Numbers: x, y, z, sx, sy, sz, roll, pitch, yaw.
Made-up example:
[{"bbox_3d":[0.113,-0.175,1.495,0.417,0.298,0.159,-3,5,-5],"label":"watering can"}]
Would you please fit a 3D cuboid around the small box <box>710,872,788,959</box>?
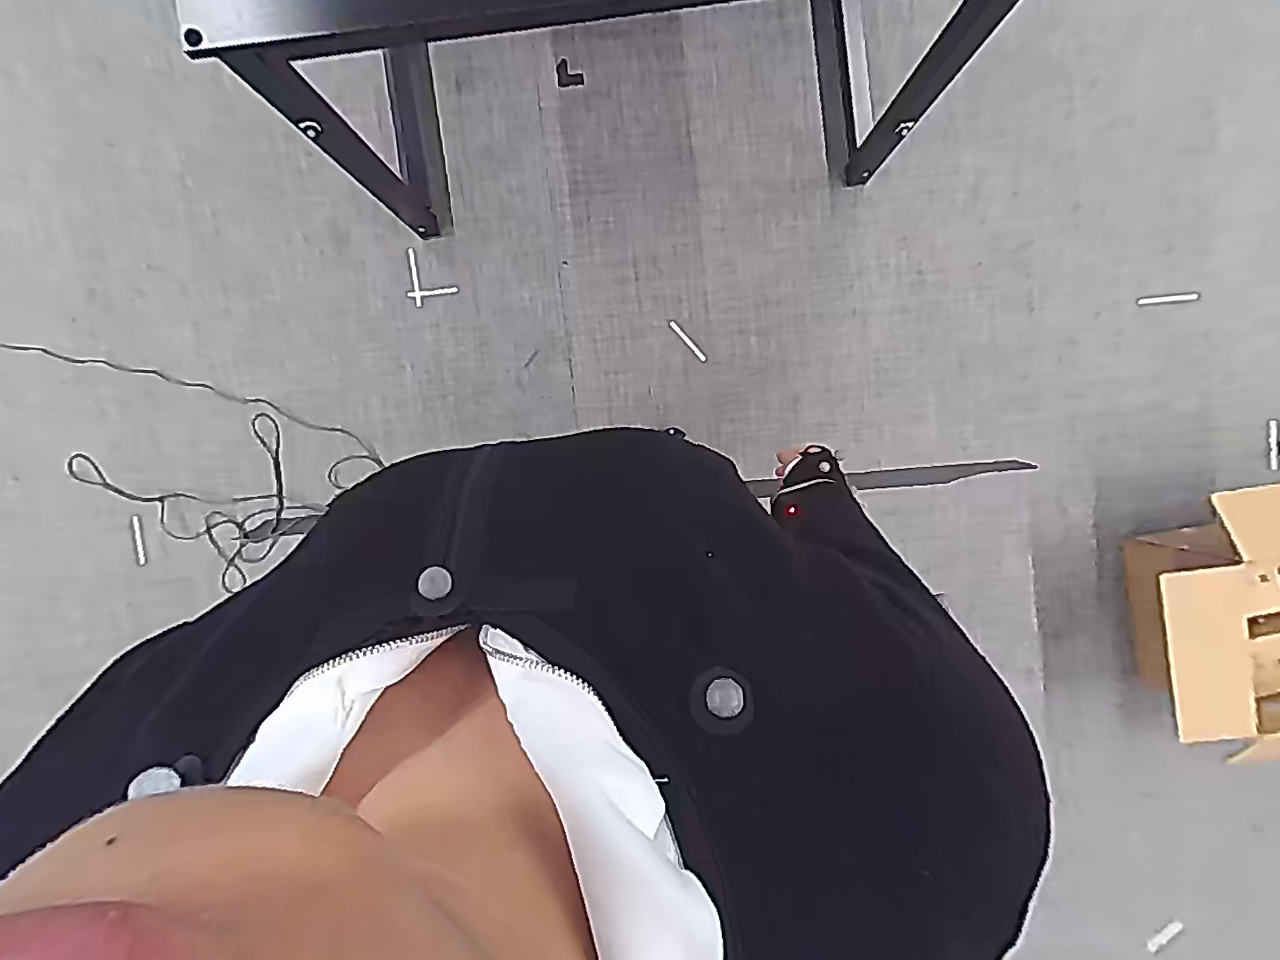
[{"bbox_3d":[0.287,1.185,1.441,0.179,0.176,0.168,-4,92,3],"label":"small box"}]
